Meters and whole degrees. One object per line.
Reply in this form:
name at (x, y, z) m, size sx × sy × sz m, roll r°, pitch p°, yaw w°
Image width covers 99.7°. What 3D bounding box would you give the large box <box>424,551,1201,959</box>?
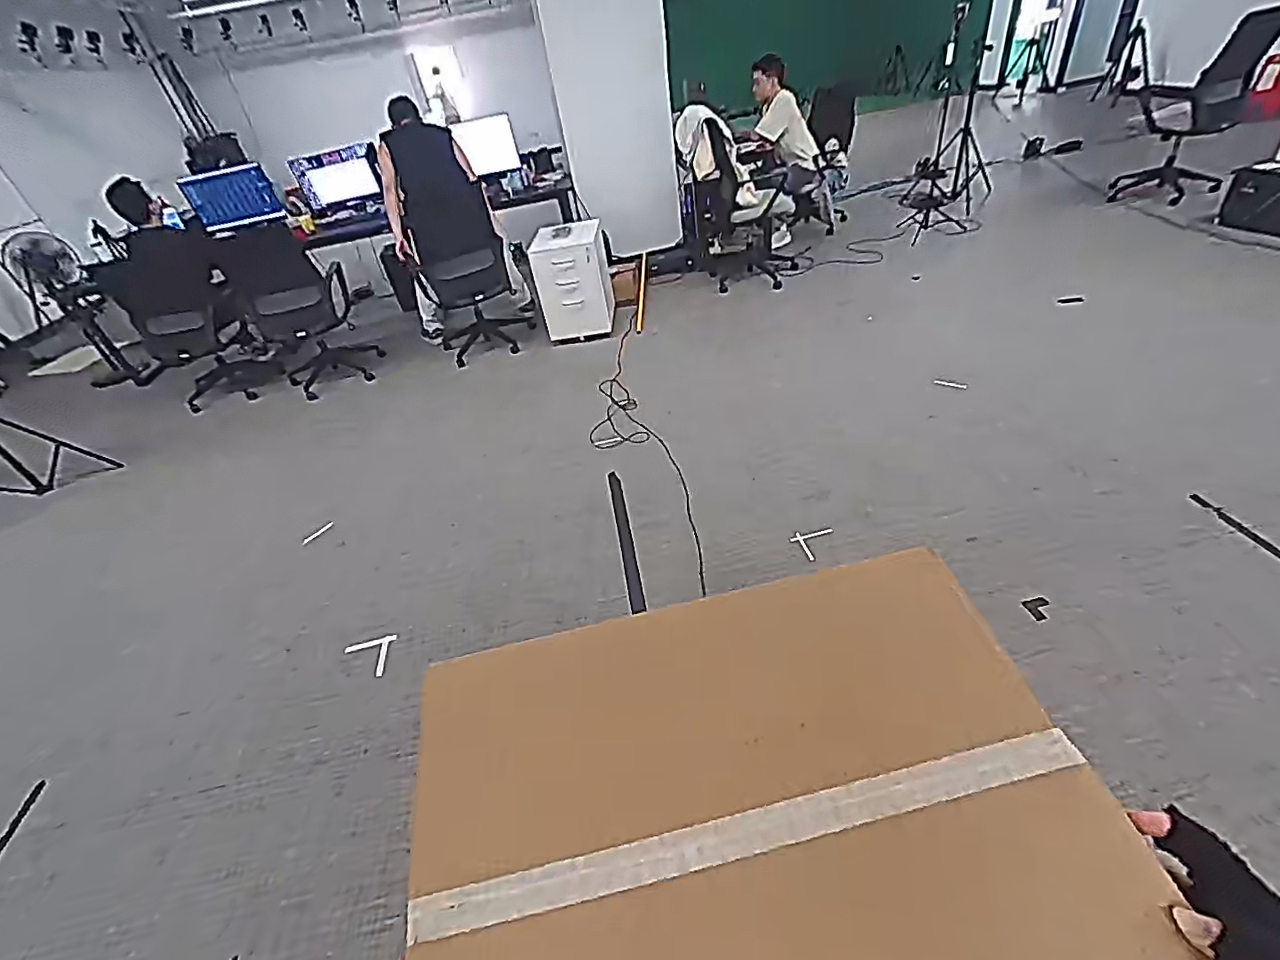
large box at (0.086, 0.310, 0.438) m, size 0.408 × 0.320 × 0.320 m, roll -14°, pitch 47°, yaw -3°
